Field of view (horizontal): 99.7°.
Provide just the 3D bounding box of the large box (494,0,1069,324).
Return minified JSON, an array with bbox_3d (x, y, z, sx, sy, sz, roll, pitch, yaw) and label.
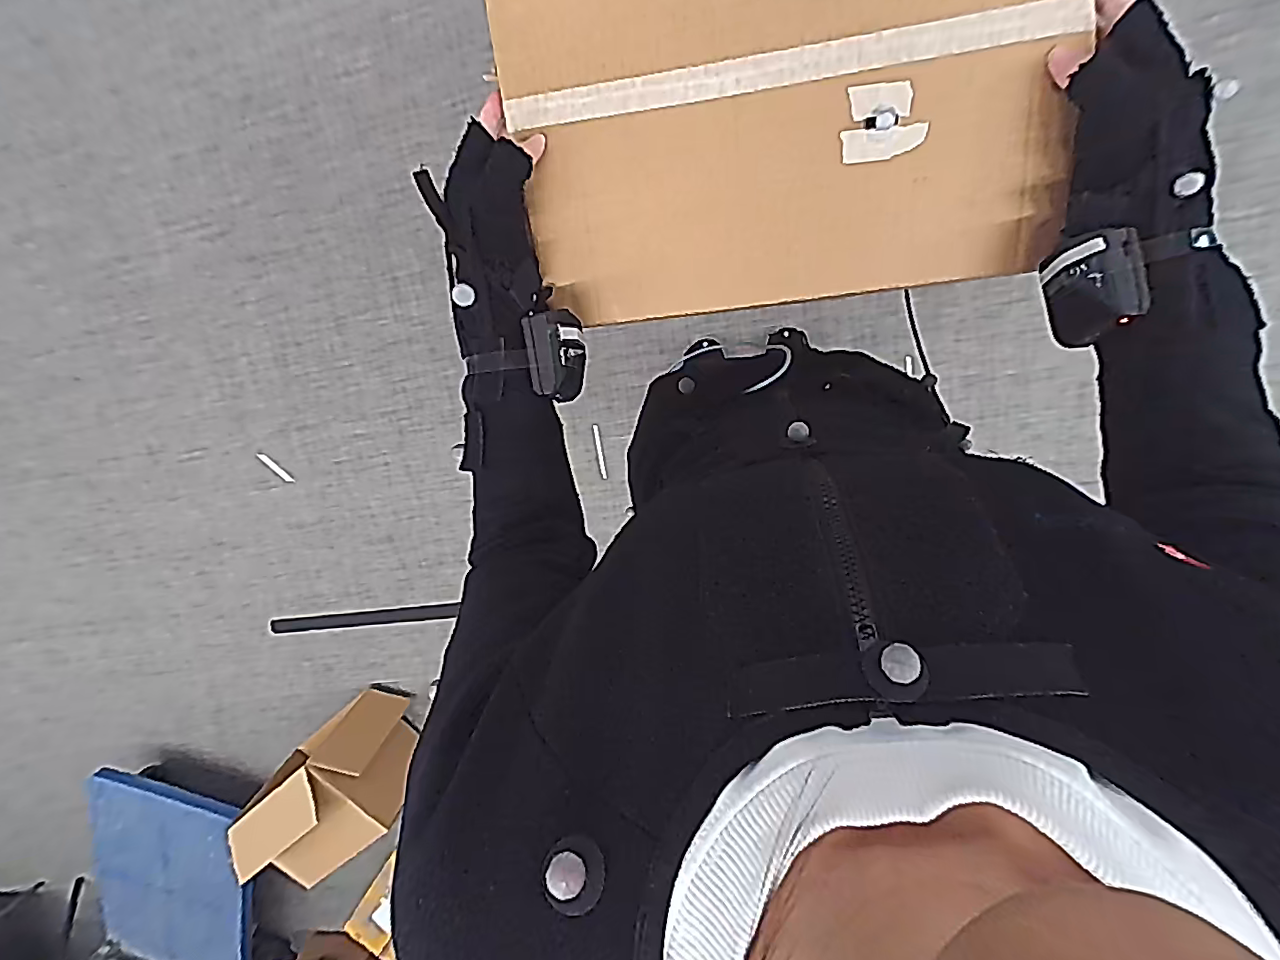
[{"bbox_3d":[0.109,-0.342,0.537,0.408,0.320,0.320,-6,107,6],"label":"large box"}]
